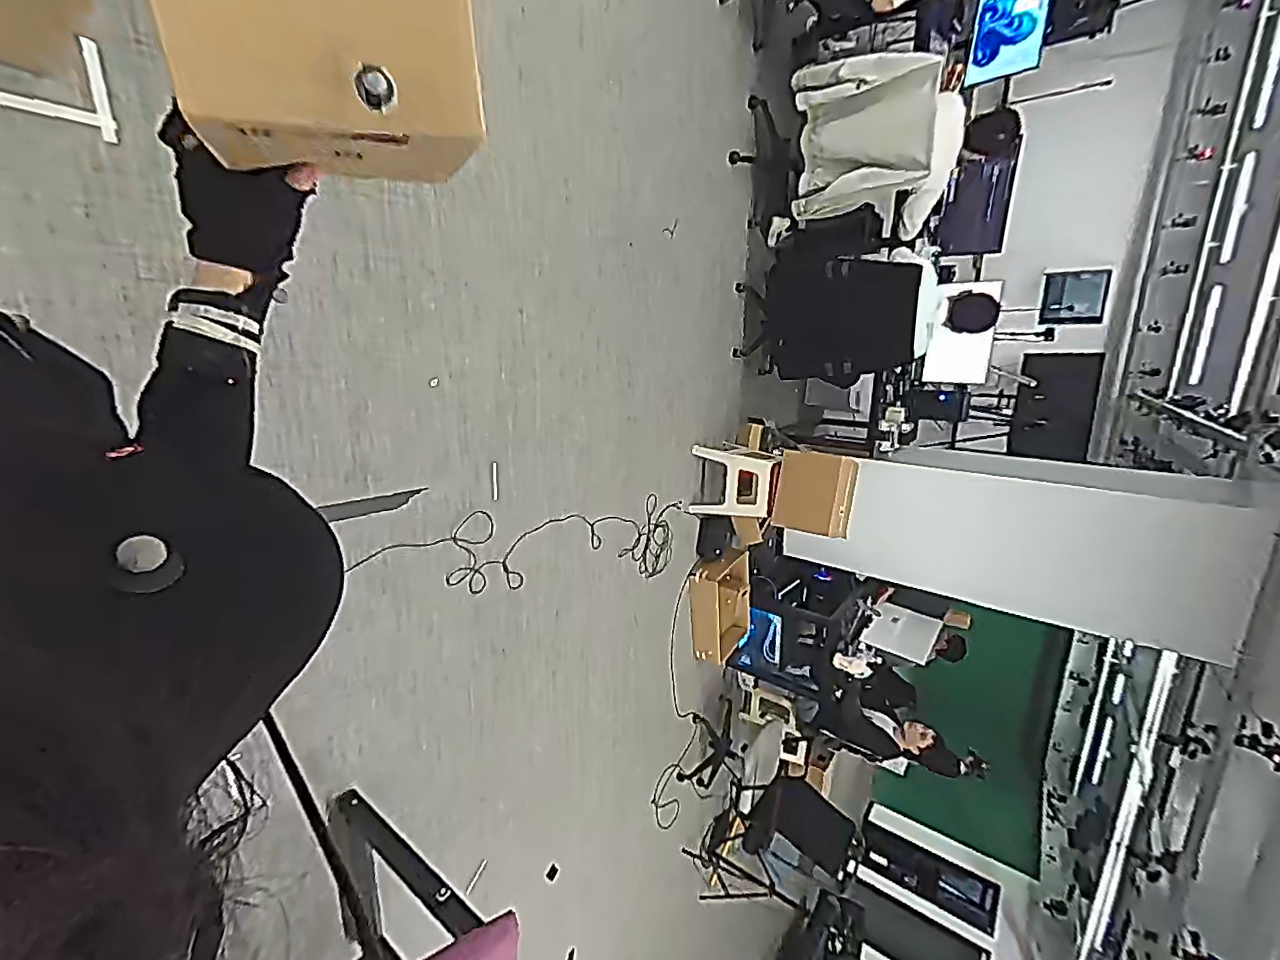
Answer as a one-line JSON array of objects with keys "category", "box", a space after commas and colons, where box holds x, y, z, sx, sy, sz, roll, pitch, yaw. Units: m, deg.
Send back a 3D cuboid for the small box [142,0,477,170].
[{"category": "small box", "box": [-0.218, -0.320, 0.359, 0.168, 0.179, 0.176, -12, 114, -25]}]
